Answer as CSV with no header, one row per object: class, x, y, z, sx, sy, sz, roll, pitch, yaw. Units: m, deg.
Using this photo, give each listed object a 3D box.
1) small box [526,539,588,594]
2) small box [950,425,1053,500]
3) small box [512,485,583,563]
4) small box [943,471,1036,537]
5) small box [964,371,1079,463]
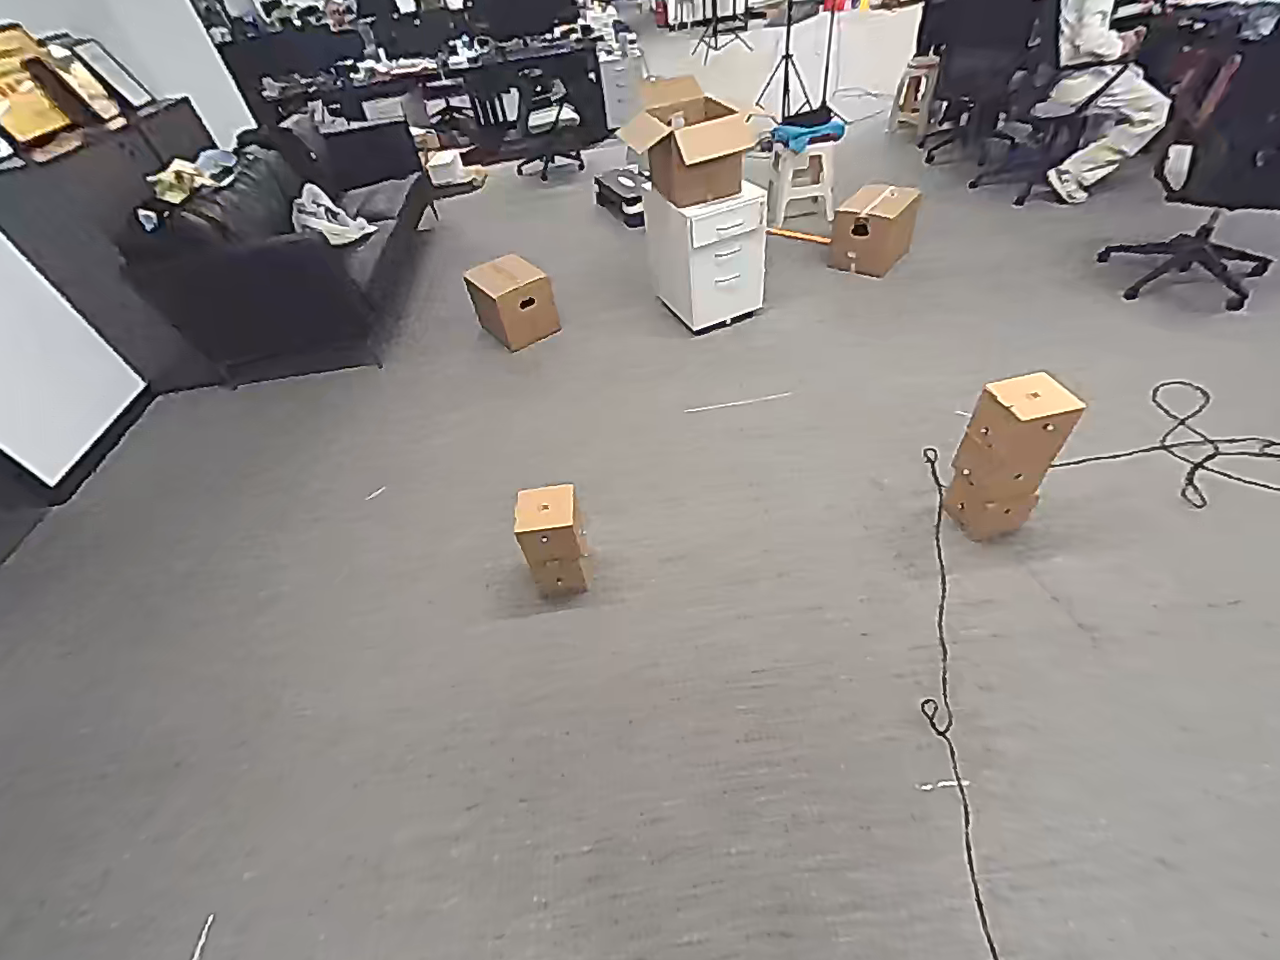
small box,-0.268,0.260,1.782,0.168,0.176,0.179,-8,45,2
small box,1.071,-0.065,1.619,0.179,0.176,0.168,-12,45,-1
small box,-0.281,0.141,1.671,0.179,0.176,0.168,-8,46,2
small box,1.099,0.060,1.722,0.179,0.176,0.168,-14,46,-4
small box,1.046,-0.173,1.500,0.179,0.176,0.168,-13,45,-1
